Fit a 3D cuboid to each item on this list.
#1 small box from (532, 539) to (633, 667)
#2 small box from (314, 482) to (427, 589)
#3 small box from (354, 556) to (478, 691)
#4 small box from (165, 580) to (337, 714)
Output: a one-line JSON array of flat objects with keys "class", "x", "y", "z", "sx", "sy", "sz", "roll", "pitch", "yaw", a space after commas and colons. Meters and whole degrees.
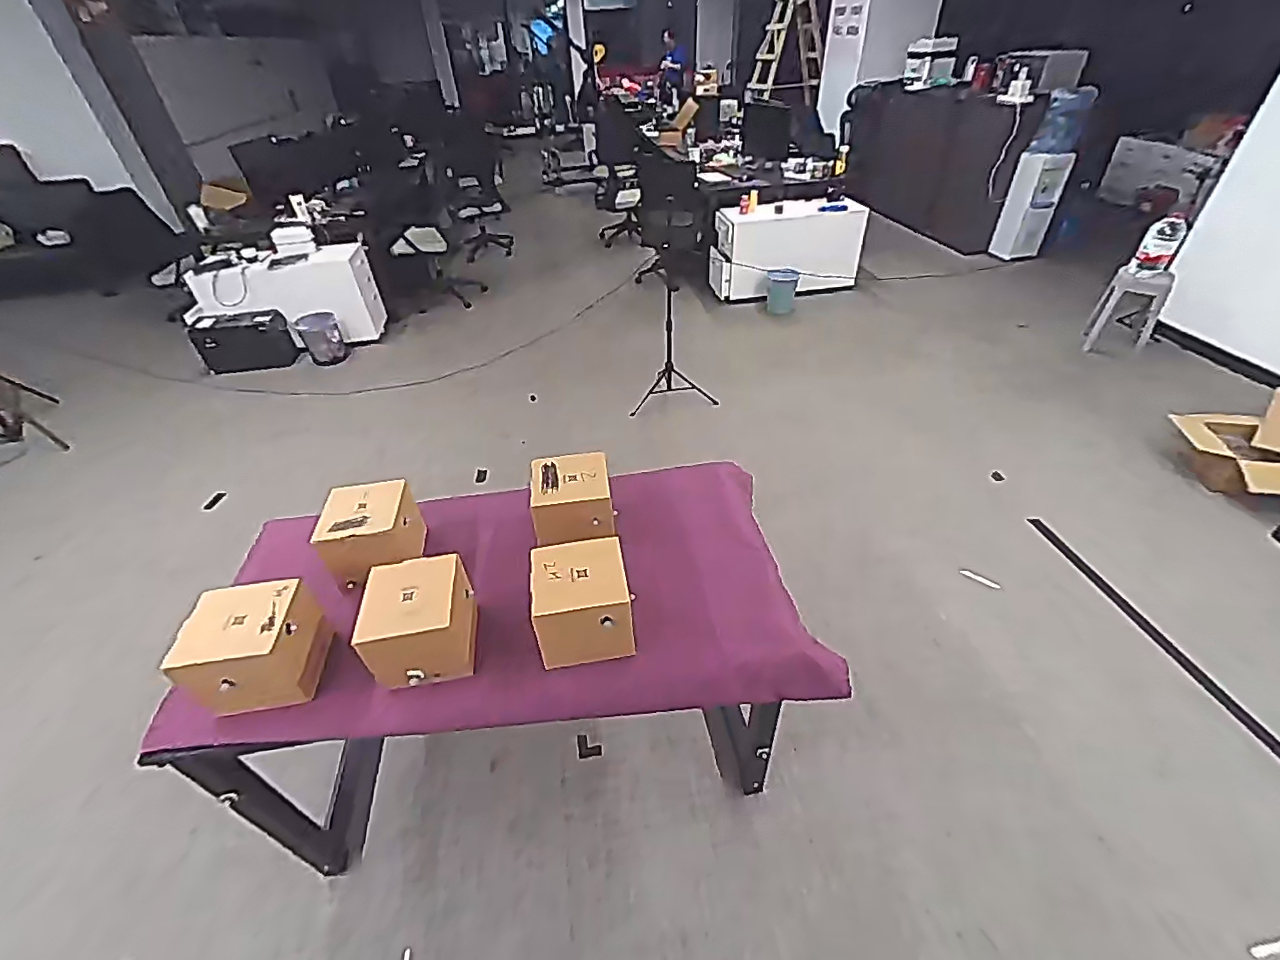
[{"class": "small box", "x": -0.110, "y": 0.240, "z": 1.055, "sx": 0.179, "sy": 0.176, "sz": 0.168, "roll": -8, "pitch": 39, "yaw": -5}, {"class": "small box", "x": -0.599, "y": 0.131, "z": 1.228, "sx": 0.168, "sy": 0.176, "sz": 0.179, "roll": -8, "pitch": 40, "yaw": -6}, {"class": "small box", "x": -0.417, "y": 0.276, "z": 1.041, "sx": 0.168, "sy": 0.176, "sz": 0.179, "roll": -9, "pitch": 42, "yaw": -5}, {"class": "small box", "x": -0.708, "y": 0.315, "z": 1.011, "sx": 0.179, "sy": 0.176, "sz": 0.168, "roll": -8, "pitch": 40, "yaw": -5}]
